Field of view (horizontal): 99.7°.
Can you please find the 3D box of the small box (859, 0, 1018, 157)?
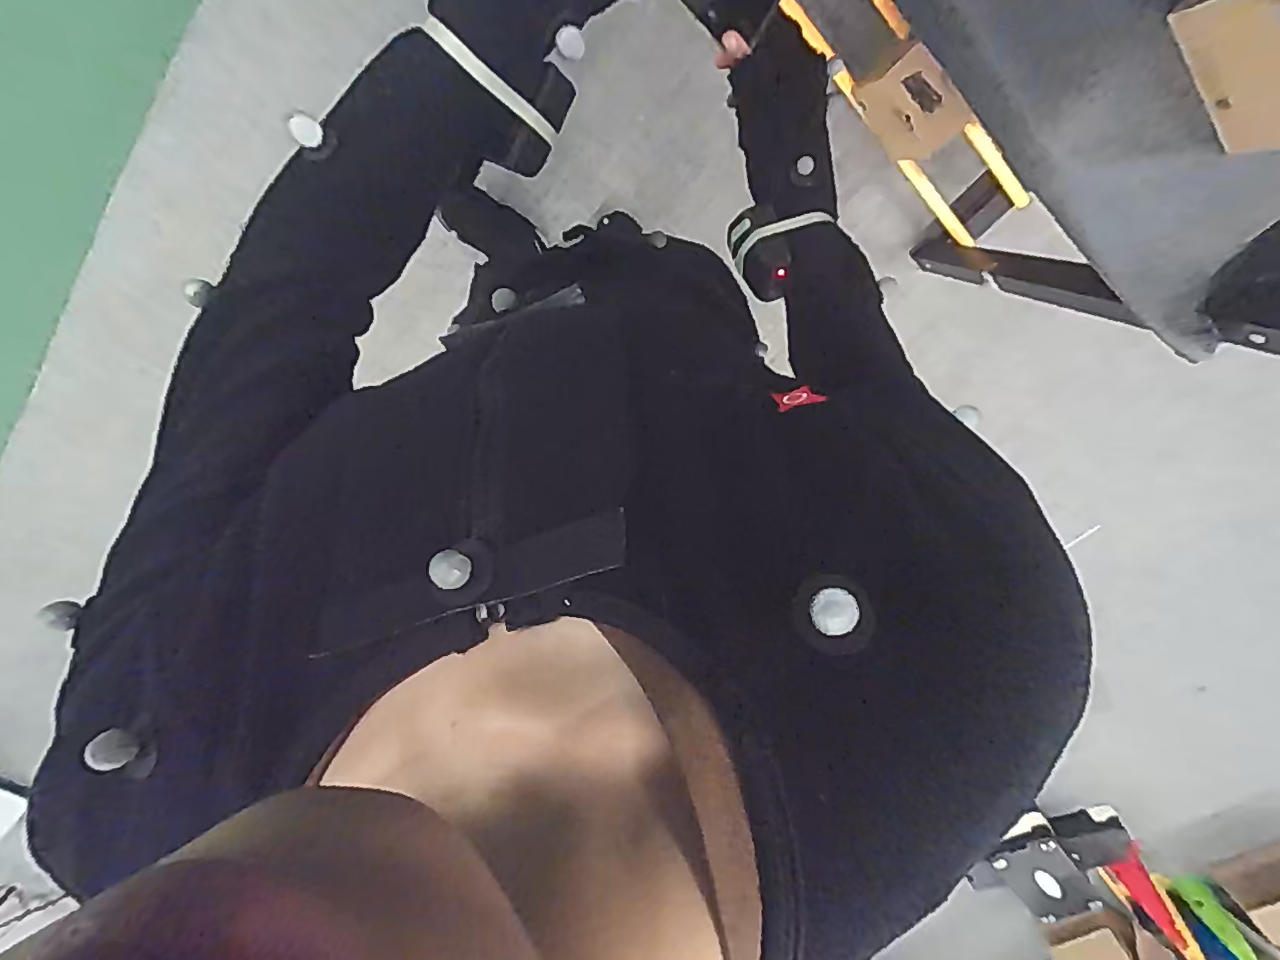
[{"bbox_3d":[0.528,-0.726,0.991,0.179,0.176,0.168,-41,111,19],"label":"small box"}]
